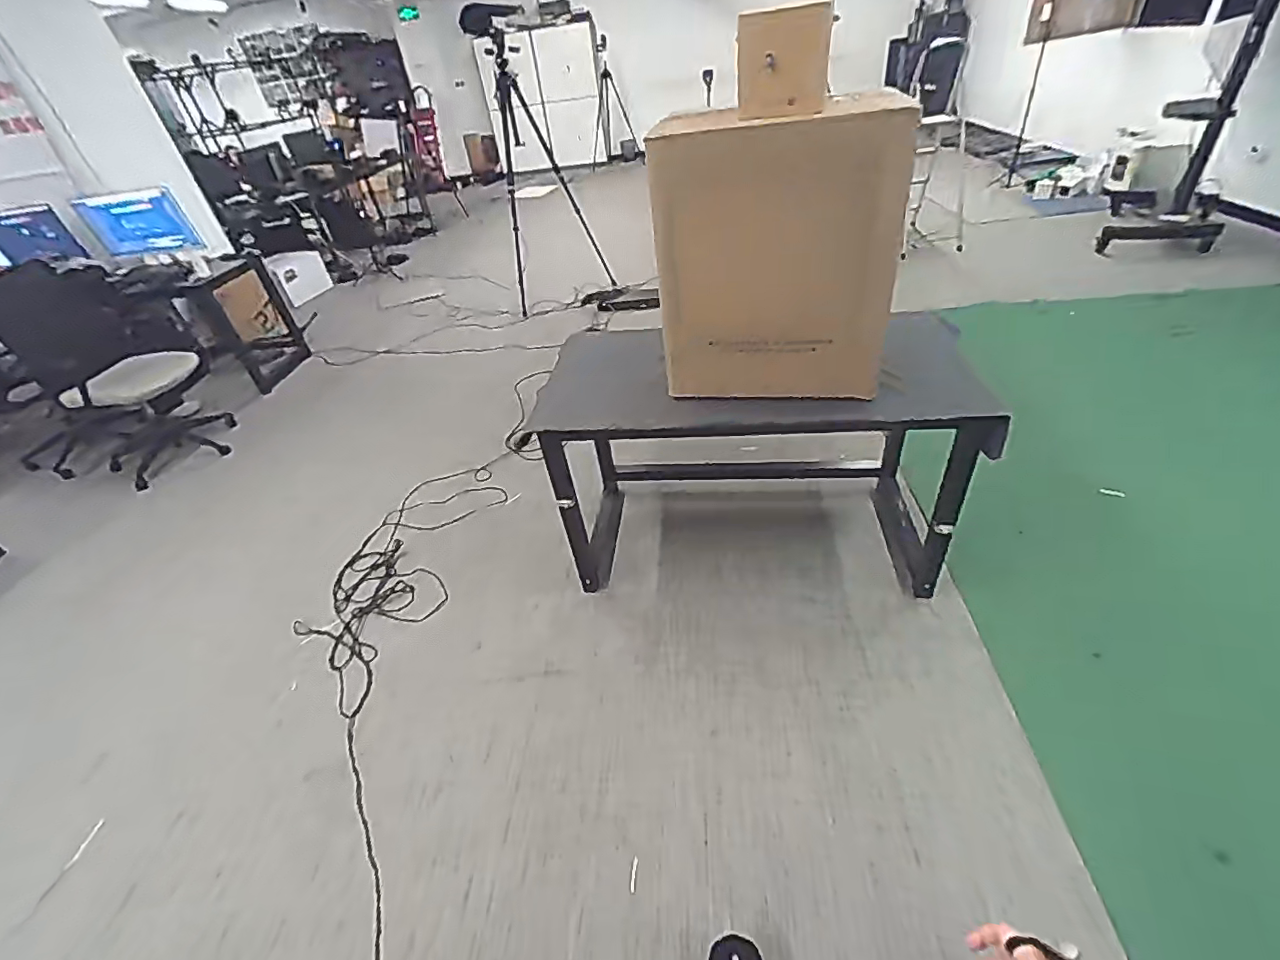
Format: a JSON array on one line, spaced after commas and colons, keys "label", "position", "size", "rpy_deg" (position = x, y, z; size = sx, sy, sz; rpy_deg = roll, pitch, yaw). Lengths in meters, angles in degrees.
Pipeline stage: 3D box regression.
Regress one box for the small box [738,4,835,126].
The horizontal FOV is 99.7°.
[{"label": "small box", "position": [0.292, -0.819, 1.076], "size": [0.168, 0.176, 0.179], "rpy_deg": [6, 42, 17]}]
